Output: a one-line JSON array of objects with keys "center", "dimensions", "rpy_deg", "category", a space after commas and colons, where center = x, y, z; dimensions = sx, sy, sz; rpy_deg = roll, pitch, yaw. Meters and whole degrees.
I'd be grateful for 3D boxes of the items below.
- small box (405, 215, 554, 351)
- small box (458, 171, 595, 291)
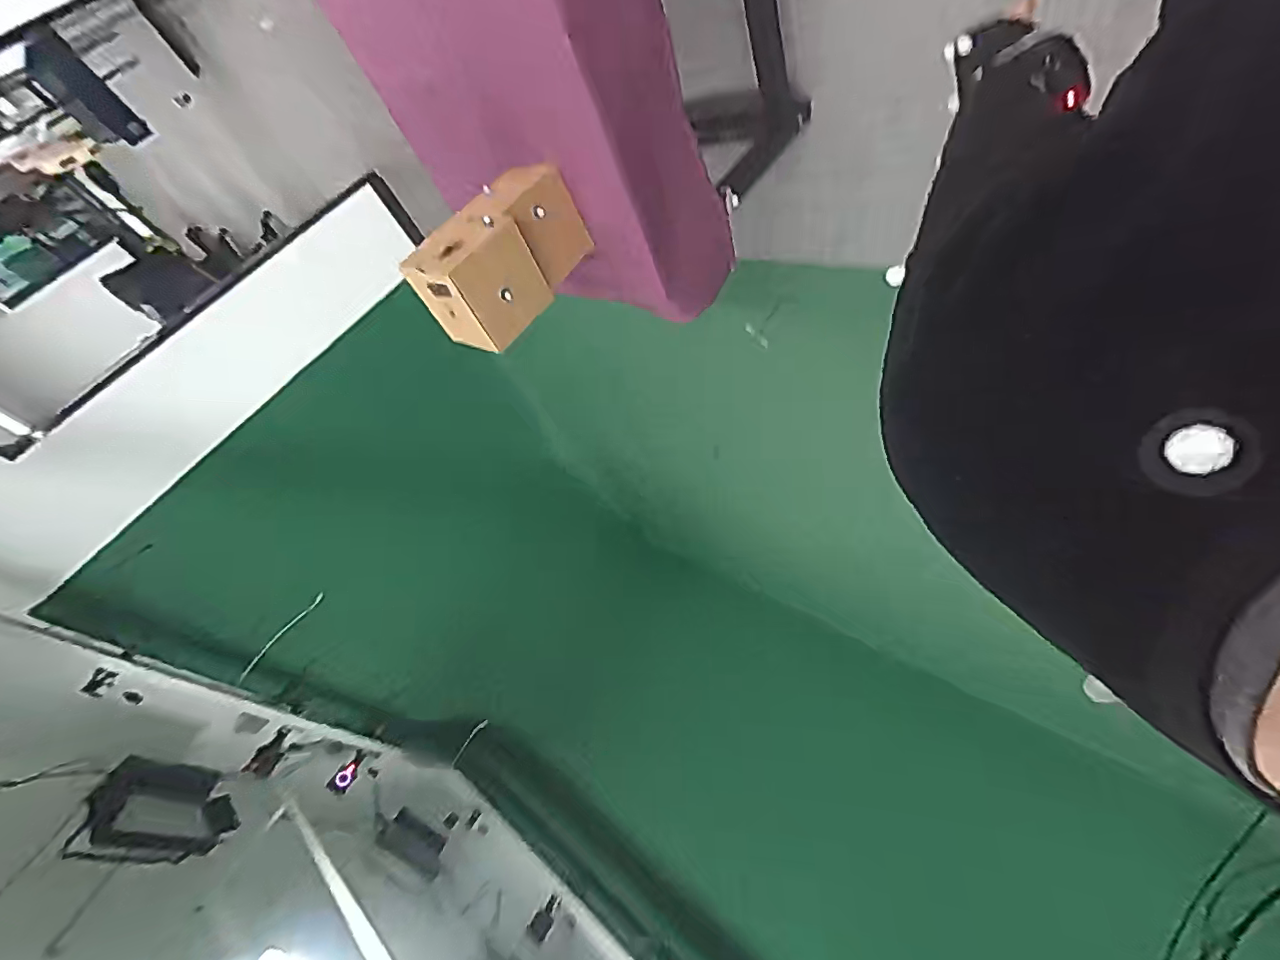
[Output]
[{"center": [-0.299, -0.381, 1.036], "dimensions": [0.168, 0.176, 0.179], "rpy_deg": [23, 157, 34], "category": "small box"}, {"center": [-0.227, -0.510, 1.113], "dimensions": [0.168, 0.176, 0.179], "rpy_deg": [20, 154, 39], "category": "small box"}]
